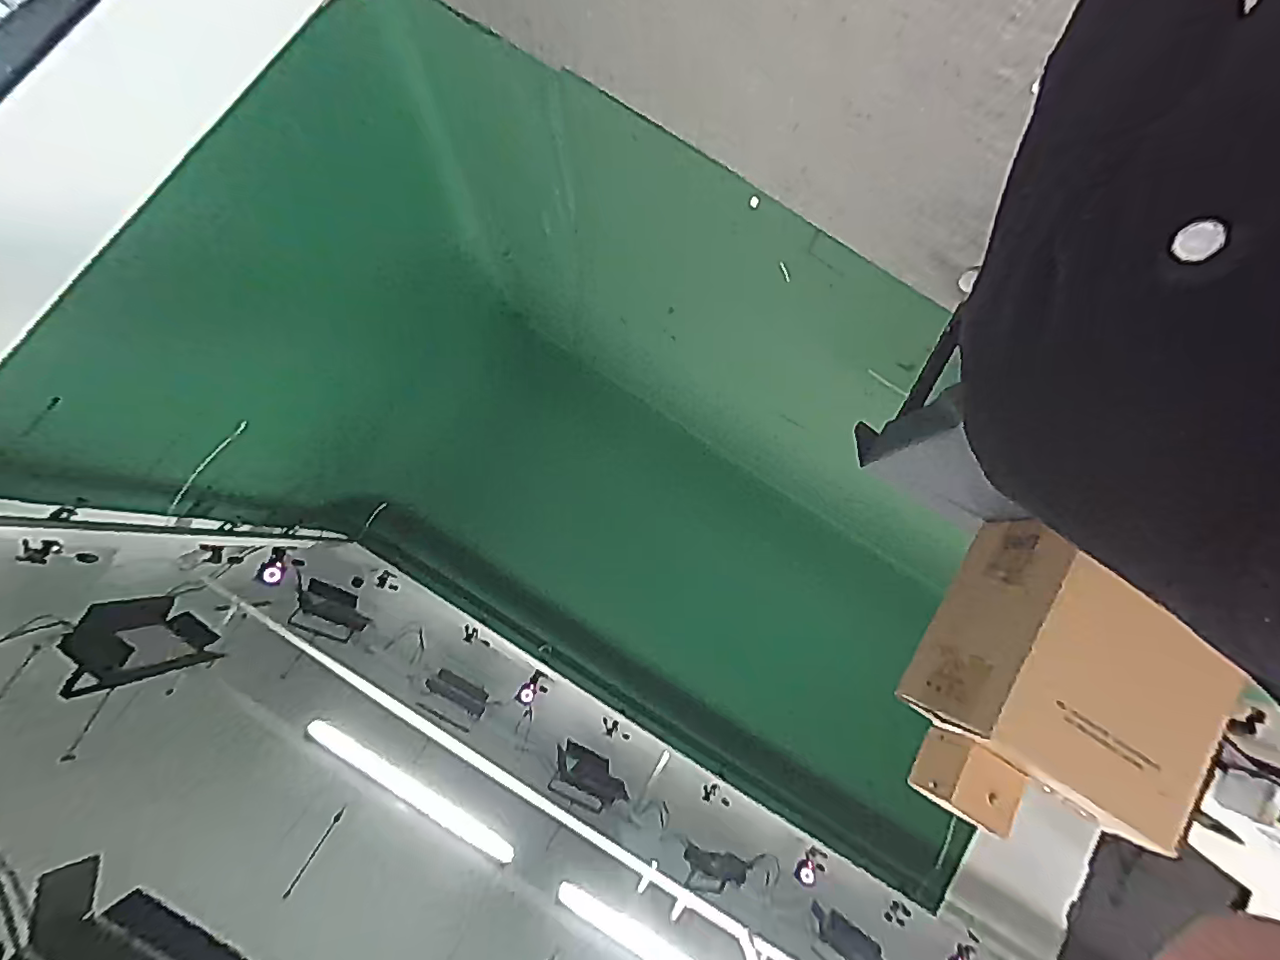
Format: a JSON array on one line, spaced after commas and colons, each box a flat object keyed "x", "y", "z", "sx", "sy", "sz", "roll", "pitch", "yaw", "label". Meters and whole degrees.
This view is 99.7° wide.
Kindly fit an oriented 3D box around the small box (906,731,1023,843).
[{"x": 0.853, "y": 0.796, "z": 1.420, "sx": 0.179, "sy": 0.176, "sz": 0.168, "roll": 33, "pitch": 165, "yaw": -1, "label": "small box"}]
